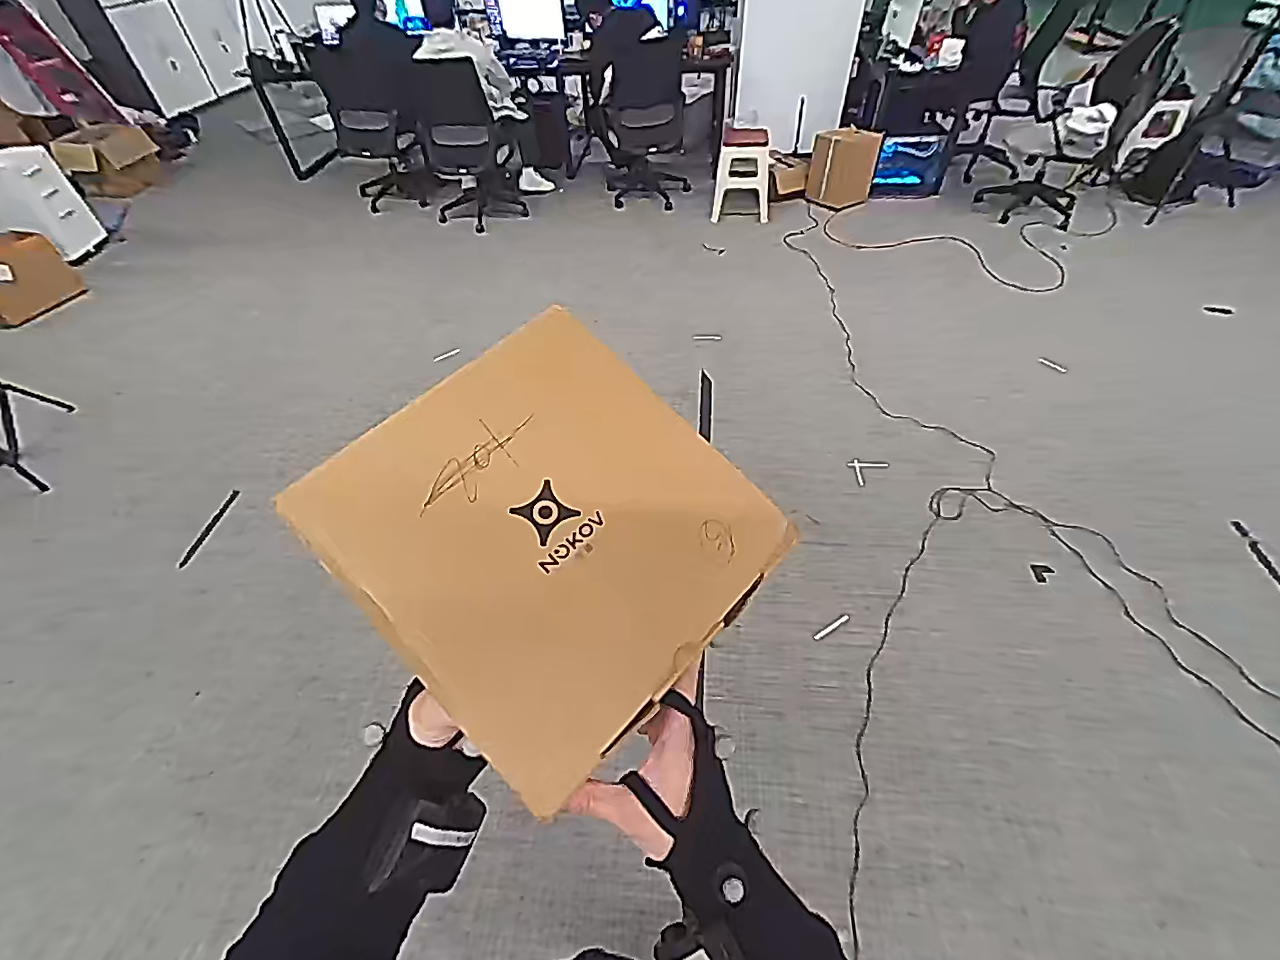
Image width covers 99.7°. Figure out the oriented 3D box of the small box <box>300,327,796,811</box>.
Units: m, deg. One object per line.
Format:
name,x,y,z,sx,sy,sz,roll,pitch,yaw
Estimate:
small box,-0.047,0.052,0.328,0.179,0.176,0.168,42,68,10
